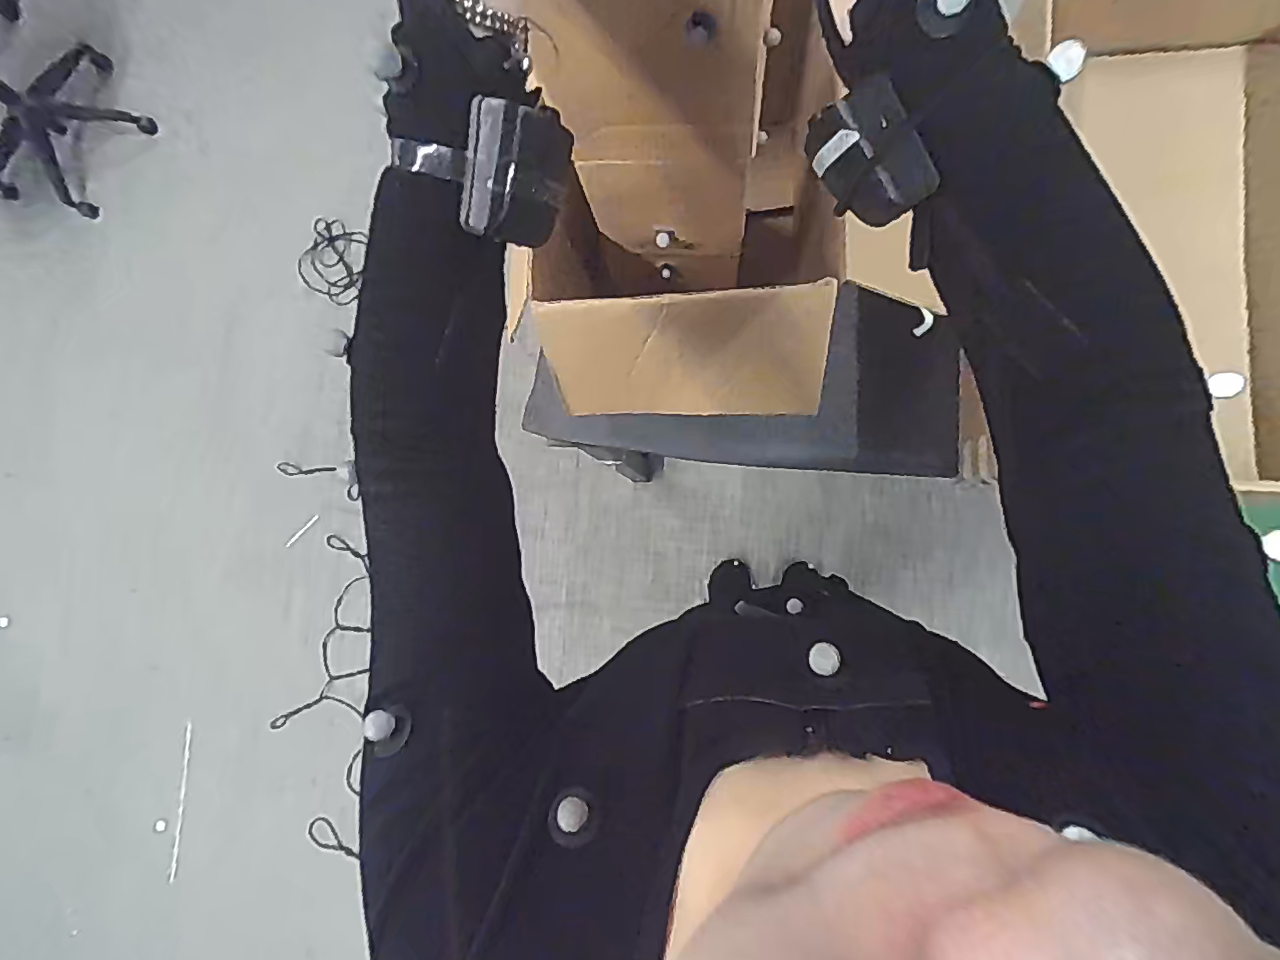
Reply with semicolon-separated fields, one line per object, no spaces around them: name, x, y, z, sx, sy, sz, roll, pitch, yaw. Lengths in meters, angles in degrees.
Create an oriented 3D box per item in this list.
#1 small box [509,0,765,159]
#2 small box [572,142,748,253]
small box;0.009;-0.386;0.429;0.179;0.176;0.168;6;86;8
small box;0.034;-0.374;0.588;0.168;0.176;0.179;5;87;8
